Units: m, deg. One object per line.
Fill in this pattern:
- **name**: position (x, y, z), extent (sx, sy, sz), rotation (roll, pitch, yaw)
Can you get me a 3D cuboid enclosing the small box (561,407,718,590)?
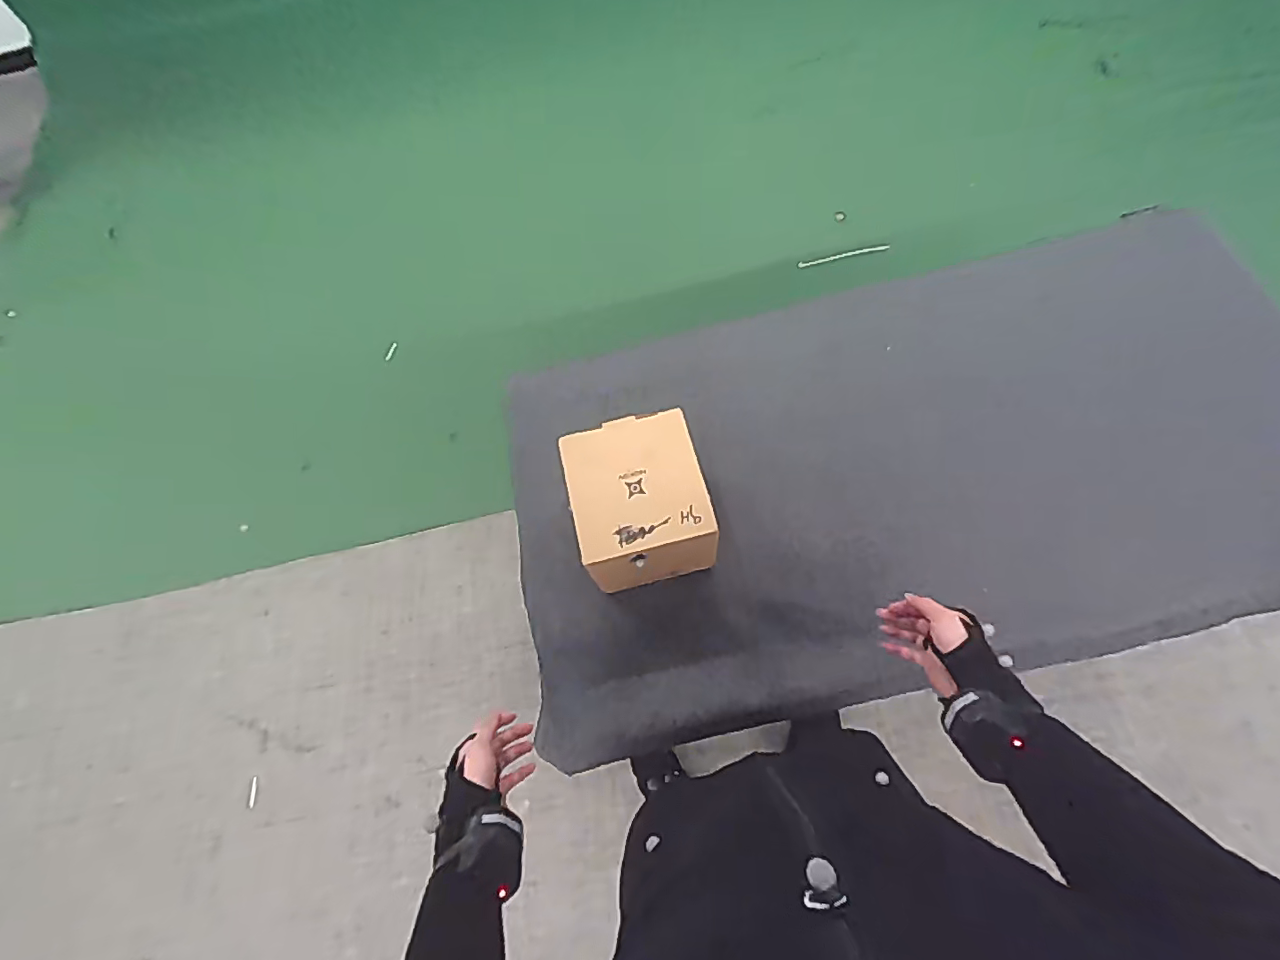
- **small box**: position (0.001, 0.032, 0.733), extent (0.168, 0.176, 0.179), rotation (-15, 66, 0)
